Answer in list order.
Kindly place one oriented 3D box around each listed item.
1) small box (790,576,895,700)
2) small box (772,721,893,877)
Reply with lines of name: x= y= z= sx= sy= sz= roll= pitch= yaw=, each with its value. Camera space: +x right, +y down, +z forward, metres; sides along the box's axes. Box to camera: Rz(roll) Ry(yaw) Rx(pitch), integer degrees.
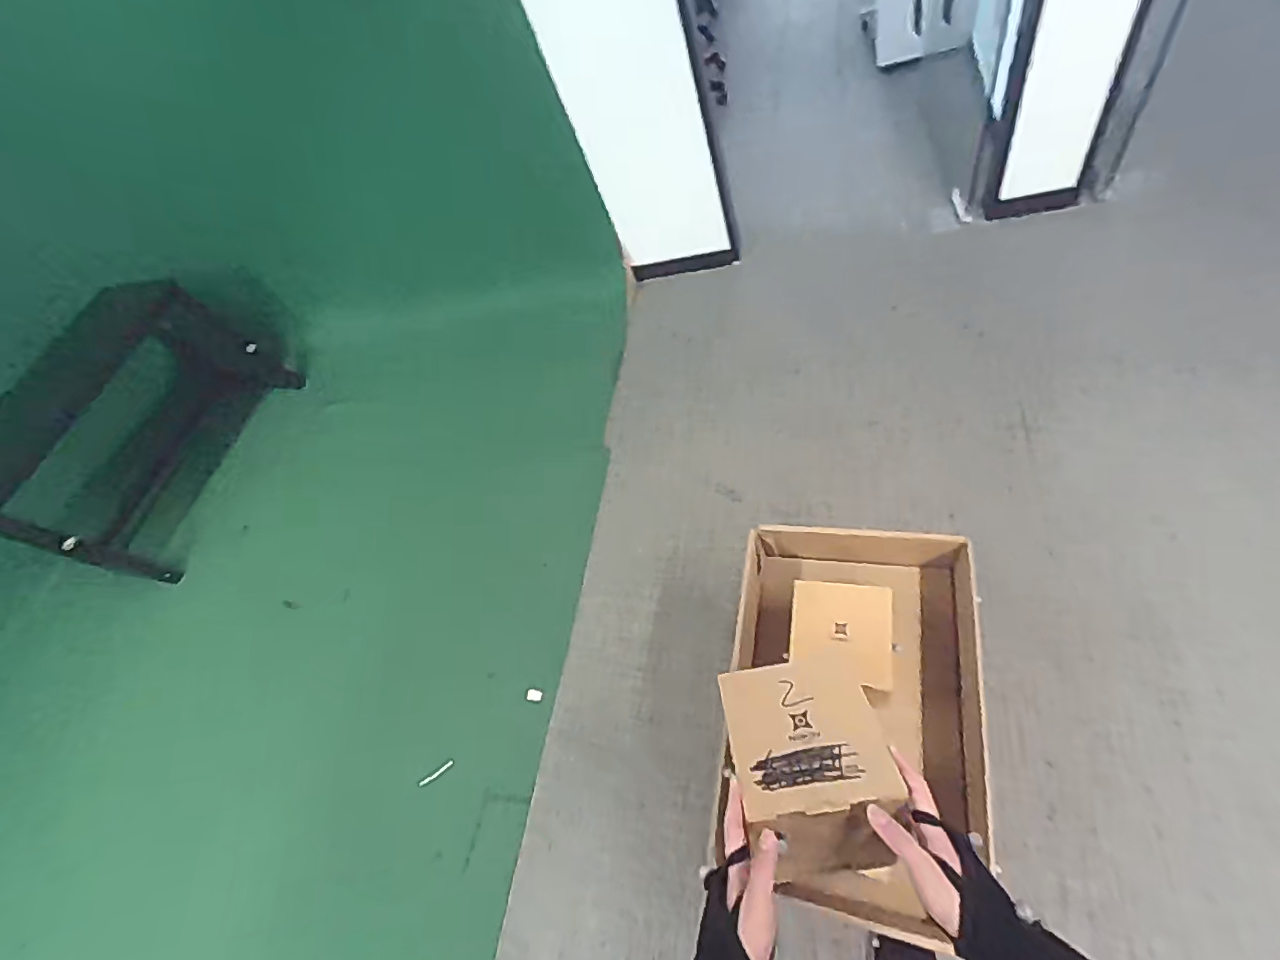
small box: x=0.374 y=0.294 z=1.000 sx=0.168 sy=0.176 sz=0.179 roll=1 pitch=62 yaw=22
small box: x=0.317 y=0.514 z=0.883 sx=0.168 sy=0.176 sz=0.179 roll=2 pitch=61 yaw=23
